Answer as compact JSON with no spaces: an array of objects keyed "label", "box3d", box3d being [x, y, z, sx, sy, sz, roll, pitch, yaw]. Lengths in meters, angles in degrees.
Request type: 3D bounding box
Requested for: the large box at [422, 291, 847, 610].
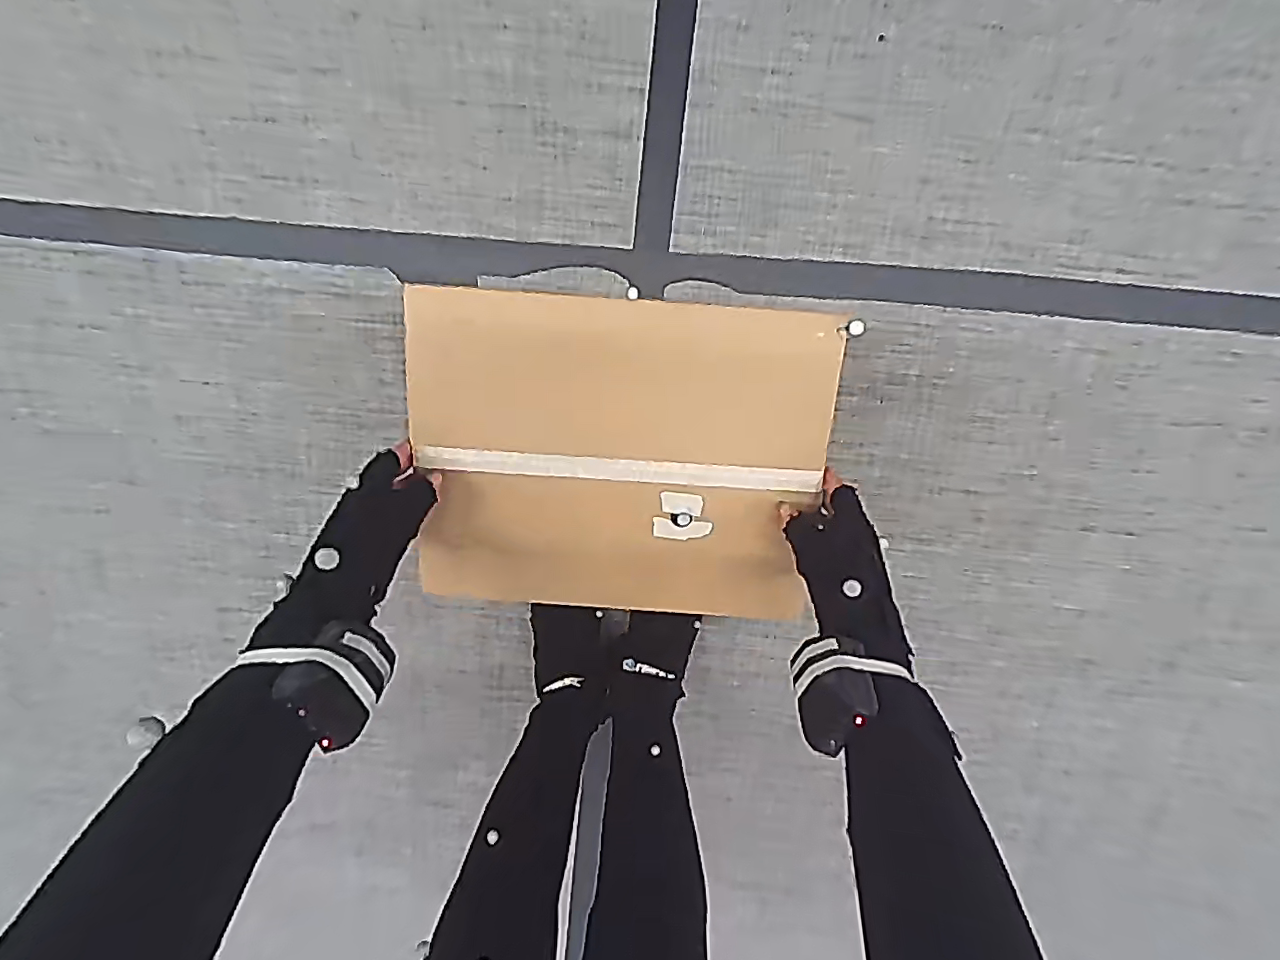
[{"label":"large box","box3d":[-0.013,-0.055,0.683,0.408,0.320,0.320,4,106,0]}]
